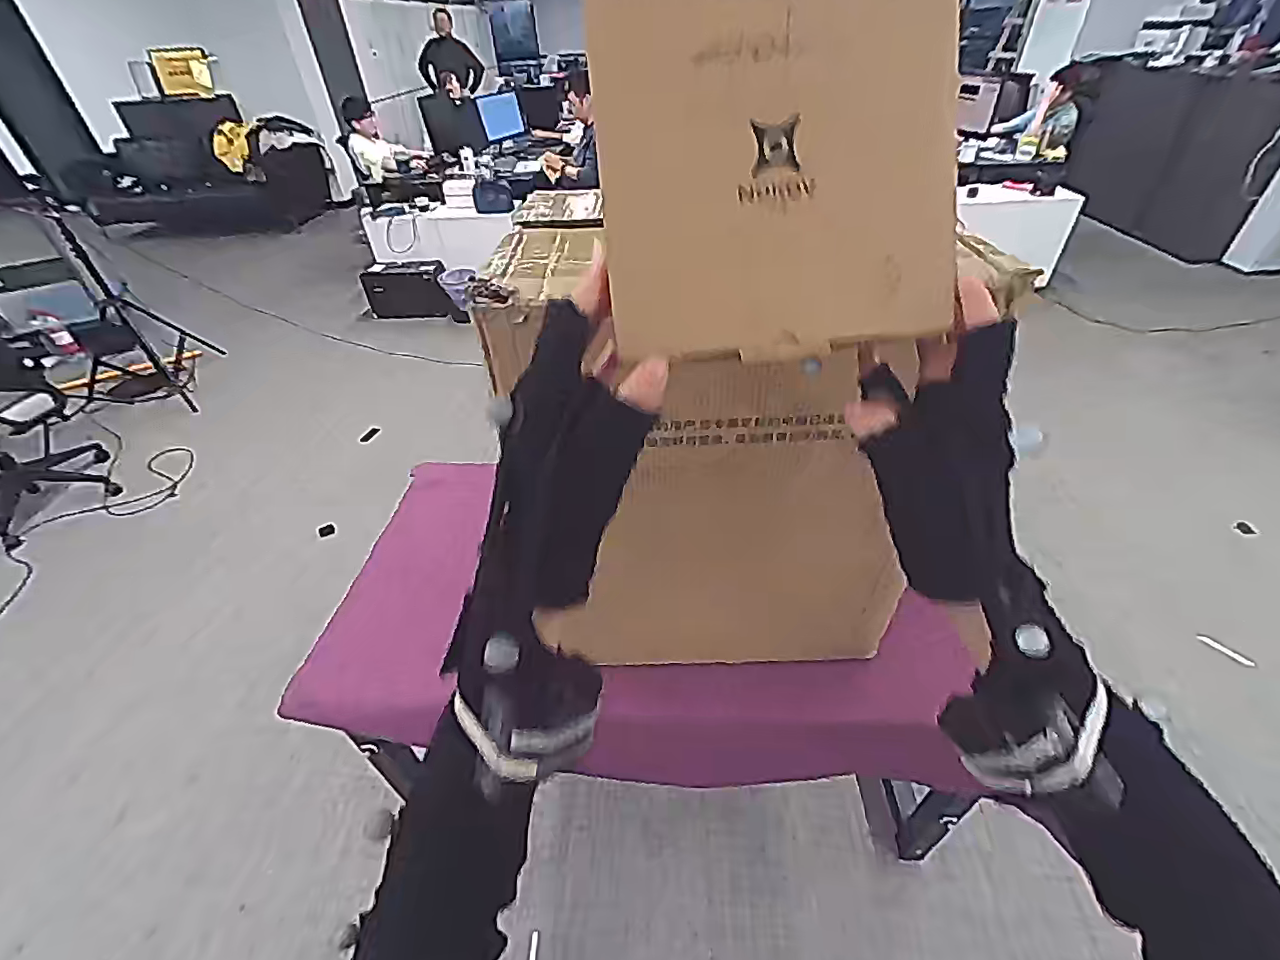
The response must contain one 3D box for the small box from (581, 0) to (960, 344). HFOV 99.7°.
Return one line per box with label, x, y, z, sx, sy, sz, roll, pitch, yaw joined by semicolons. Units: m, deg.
small box;0.061;-0.177;0.324;0.168;0.179;0.176;-6;11;1
